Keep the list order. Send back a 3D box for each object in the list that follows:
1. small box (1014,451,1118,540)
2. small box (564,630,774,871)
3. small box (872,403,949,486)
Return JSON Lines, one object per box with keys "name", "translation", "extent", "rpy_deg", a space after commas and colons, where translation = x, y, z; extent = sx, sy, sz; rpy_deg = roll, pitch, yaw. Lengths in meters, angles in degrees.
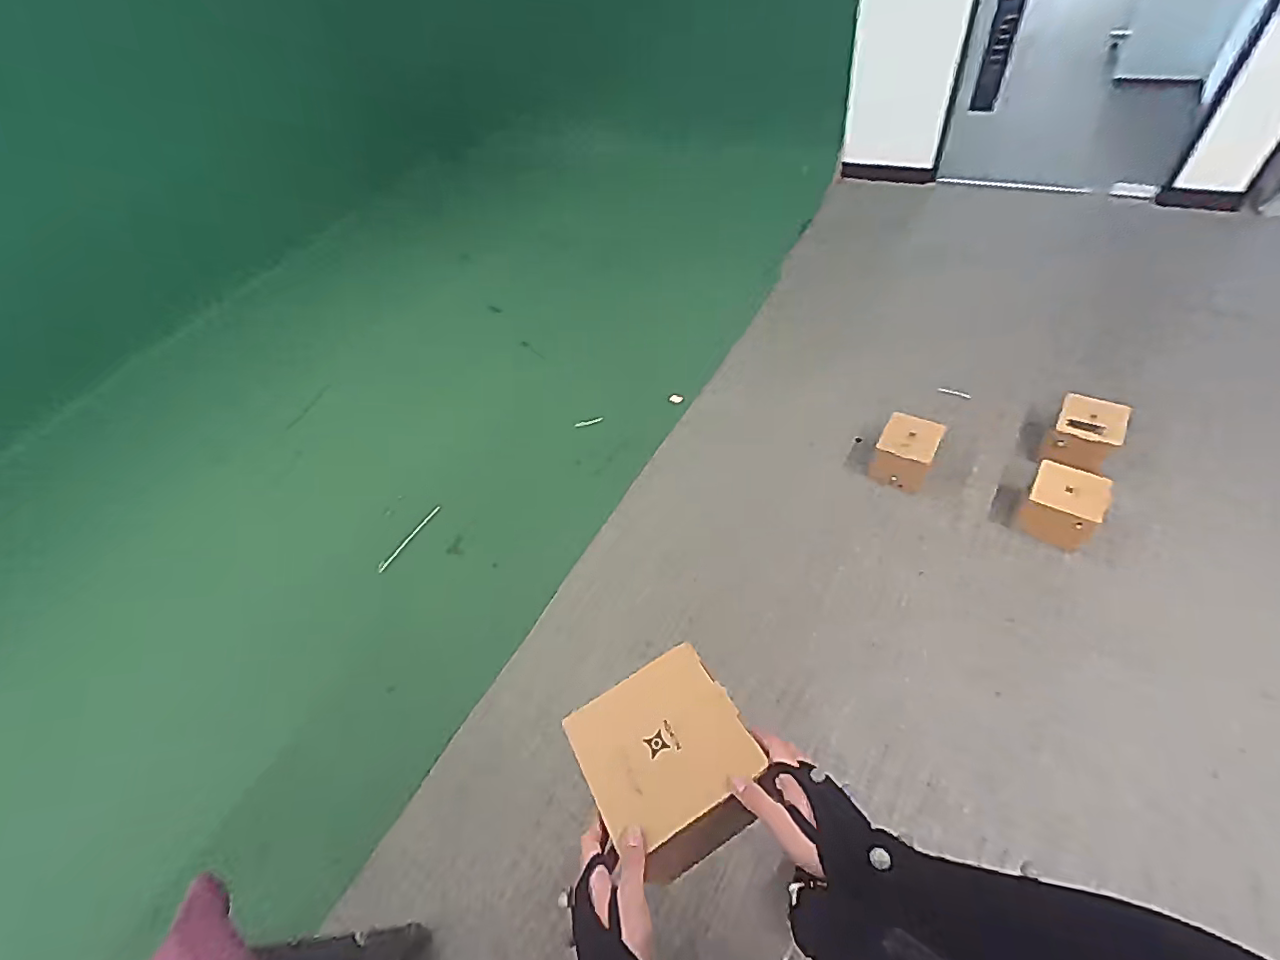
{"name": "small box", "translation": [1.227, 0.049, 1.570], "extent": [0.179, 0.176, 0.168], "rpy_deg": [25, 63, 26]}
{"name": "small box", "translation": [0.039, 0.316, 0.632], "extent": [0.179, 0.176, 0.168], "rpy_deg": [-30, 46, -9]}
{"name": "small box", "translation": [0.876, -0.115, 1.767], "extent": [0.168, 0.176, 0.179], "rpy_deg": [24, 63, 27]}
